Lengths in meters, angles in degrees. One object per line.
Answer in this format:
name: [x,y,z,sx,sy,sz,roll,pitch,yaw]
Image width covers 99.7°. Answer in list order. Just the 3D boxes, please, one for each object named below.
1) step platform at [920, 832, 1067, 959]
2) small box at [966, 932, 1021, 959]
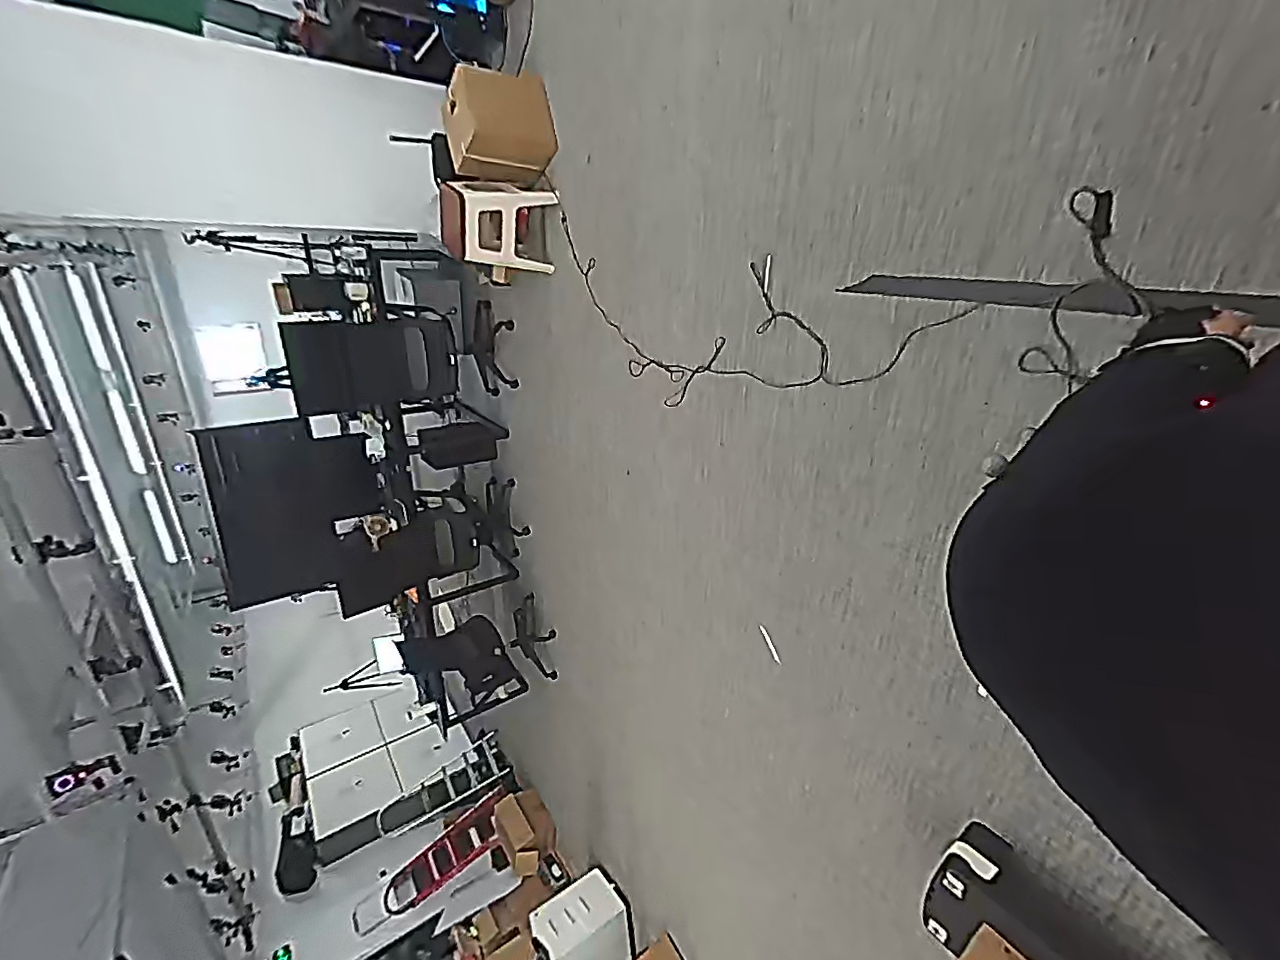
step platform: [1.045,1.237,1.291,0.684,0.204,0.286,28,125,48]
small box: [0.843,1.237,1.274,0.168,0.176,0.179,31,125,47]
